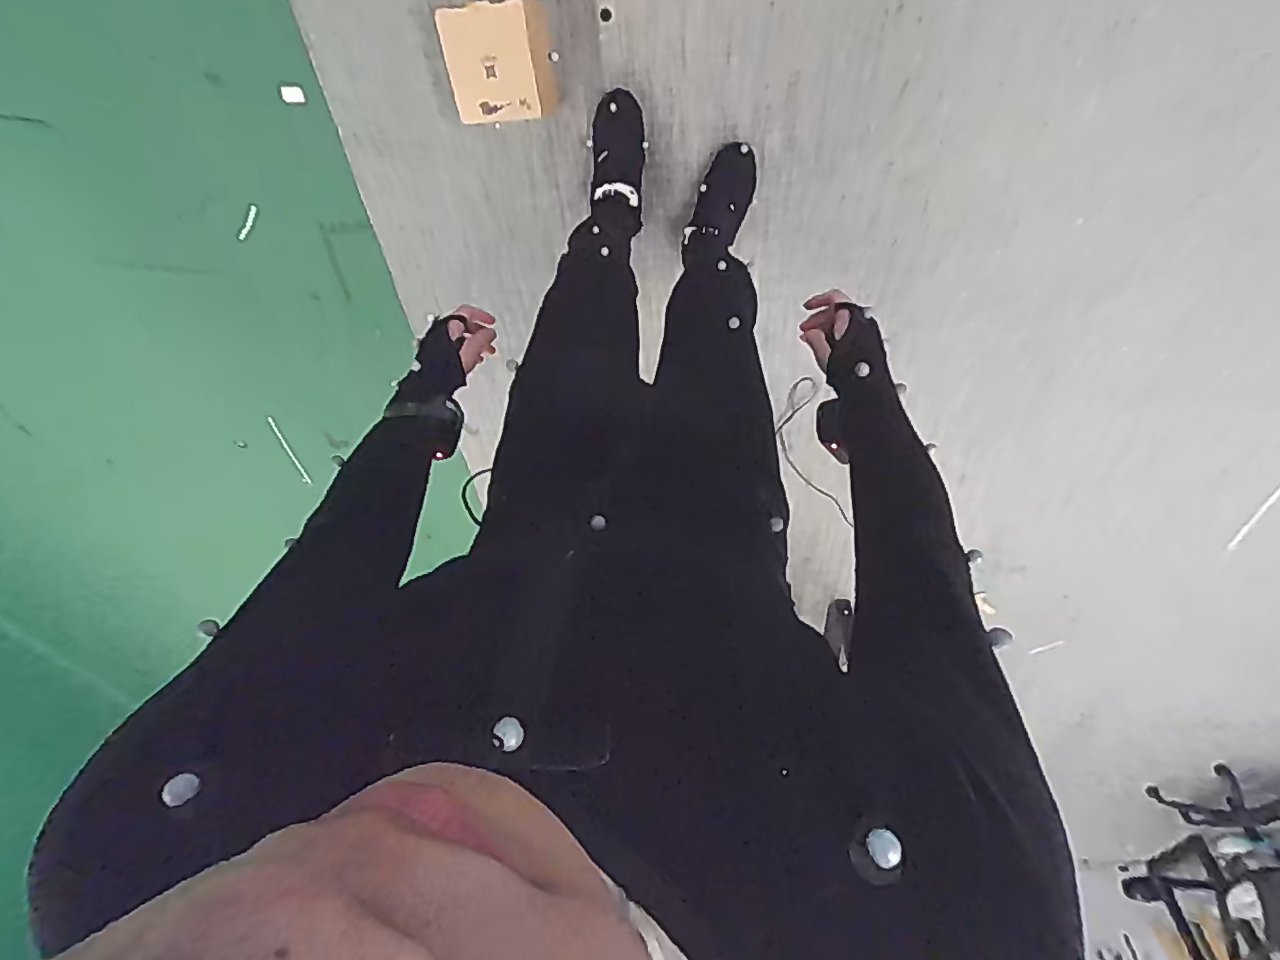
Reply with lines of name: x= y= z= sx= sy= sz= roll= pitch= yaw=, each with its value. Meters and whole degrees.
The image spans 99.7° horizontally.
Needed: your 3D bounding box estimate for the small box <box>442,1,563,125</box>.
small box: x=-0.258 y=-0.814 z=1.060 sx=0.168 sy=0.176 sz=0.179 roll=1 pitch=130 yaw=8
